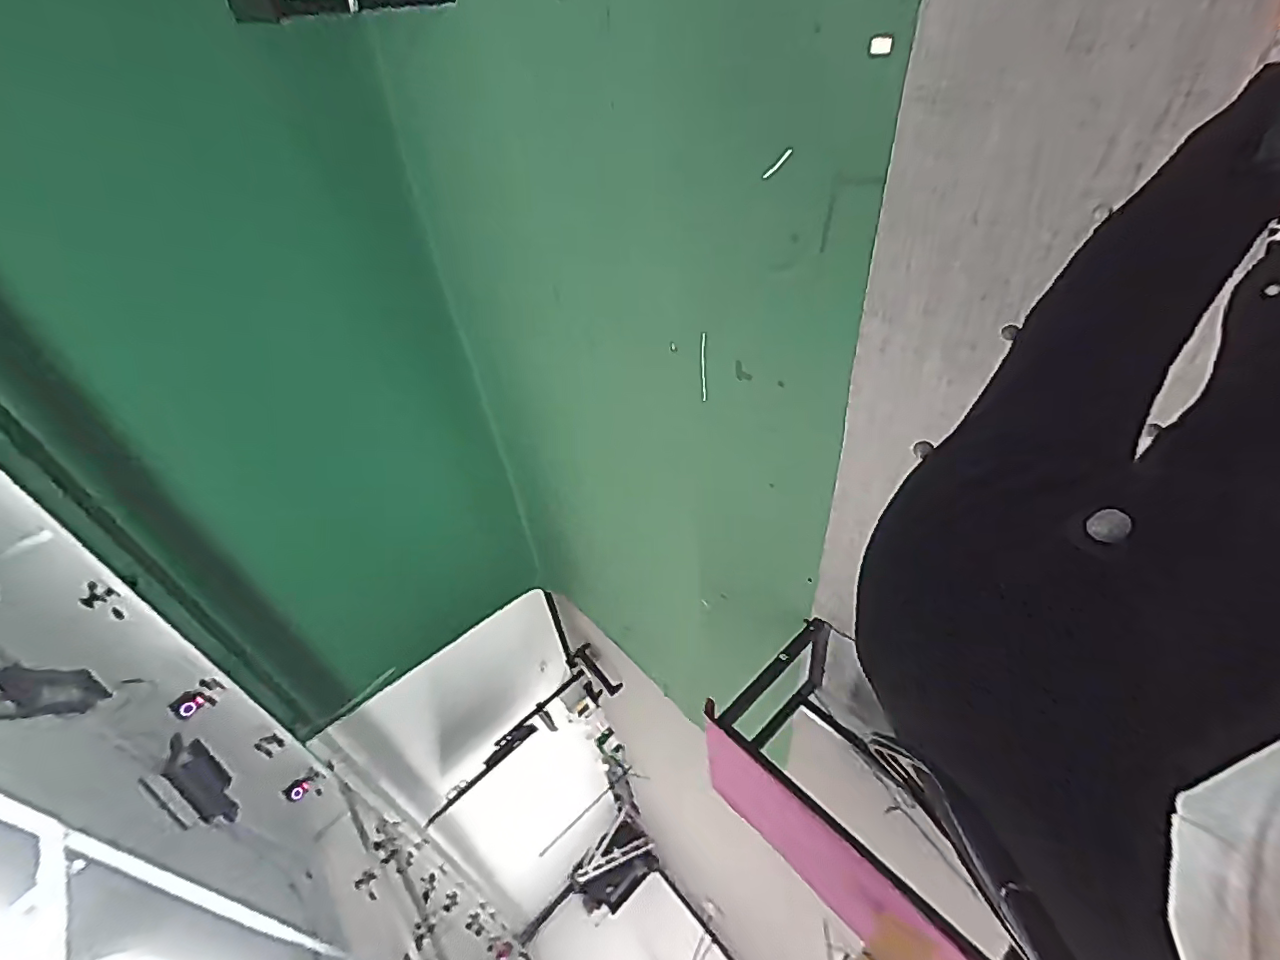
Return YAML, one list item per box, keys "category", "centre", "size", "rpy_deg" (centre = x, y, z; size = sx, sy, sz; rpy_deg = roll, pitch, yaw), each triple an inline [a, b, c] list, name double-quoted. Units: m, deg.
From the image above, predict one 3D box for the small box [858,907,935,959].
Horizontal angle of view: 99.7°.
- category: "small box"
  centre: [0.803, 1.508, 1.701]
  size: [0.168, 0.176, 0.179]
  rpy_deg: [26, 140, 42]
